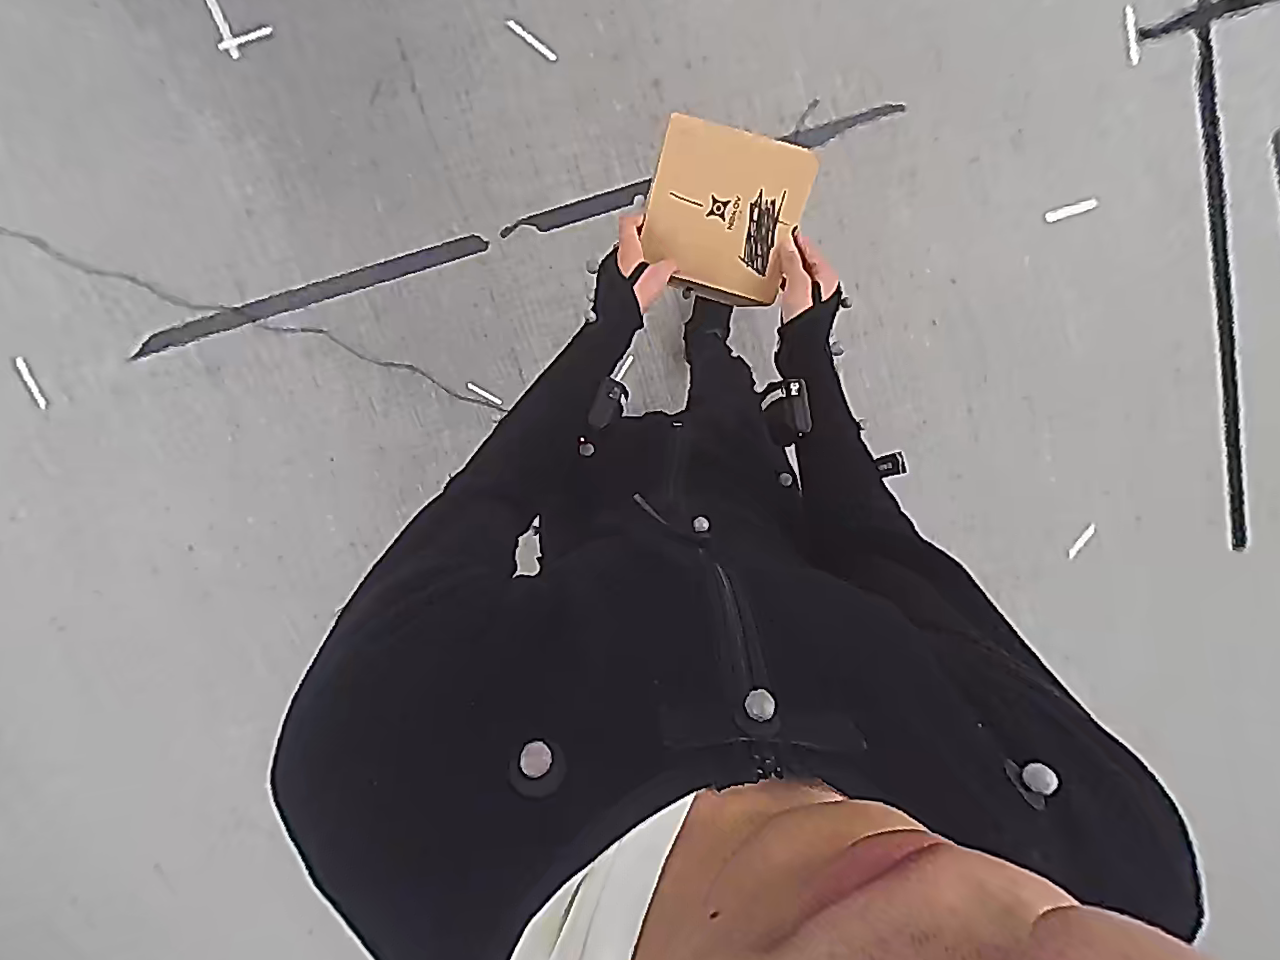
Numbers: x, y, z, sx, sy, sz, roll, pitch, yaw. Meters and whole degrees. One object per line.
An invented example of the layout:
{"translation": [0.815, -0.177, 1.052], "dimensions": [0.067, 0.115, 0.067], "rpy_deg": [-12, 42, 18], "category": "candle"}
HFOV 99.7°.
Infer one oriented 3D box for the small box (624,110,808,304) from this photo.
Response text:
{"translation": [0.082, -0.333, 0.695], "dimensions": [0.179, 0.176, 0.168], "rpy_deg": [13, 106, -6], "category": "small box"}
